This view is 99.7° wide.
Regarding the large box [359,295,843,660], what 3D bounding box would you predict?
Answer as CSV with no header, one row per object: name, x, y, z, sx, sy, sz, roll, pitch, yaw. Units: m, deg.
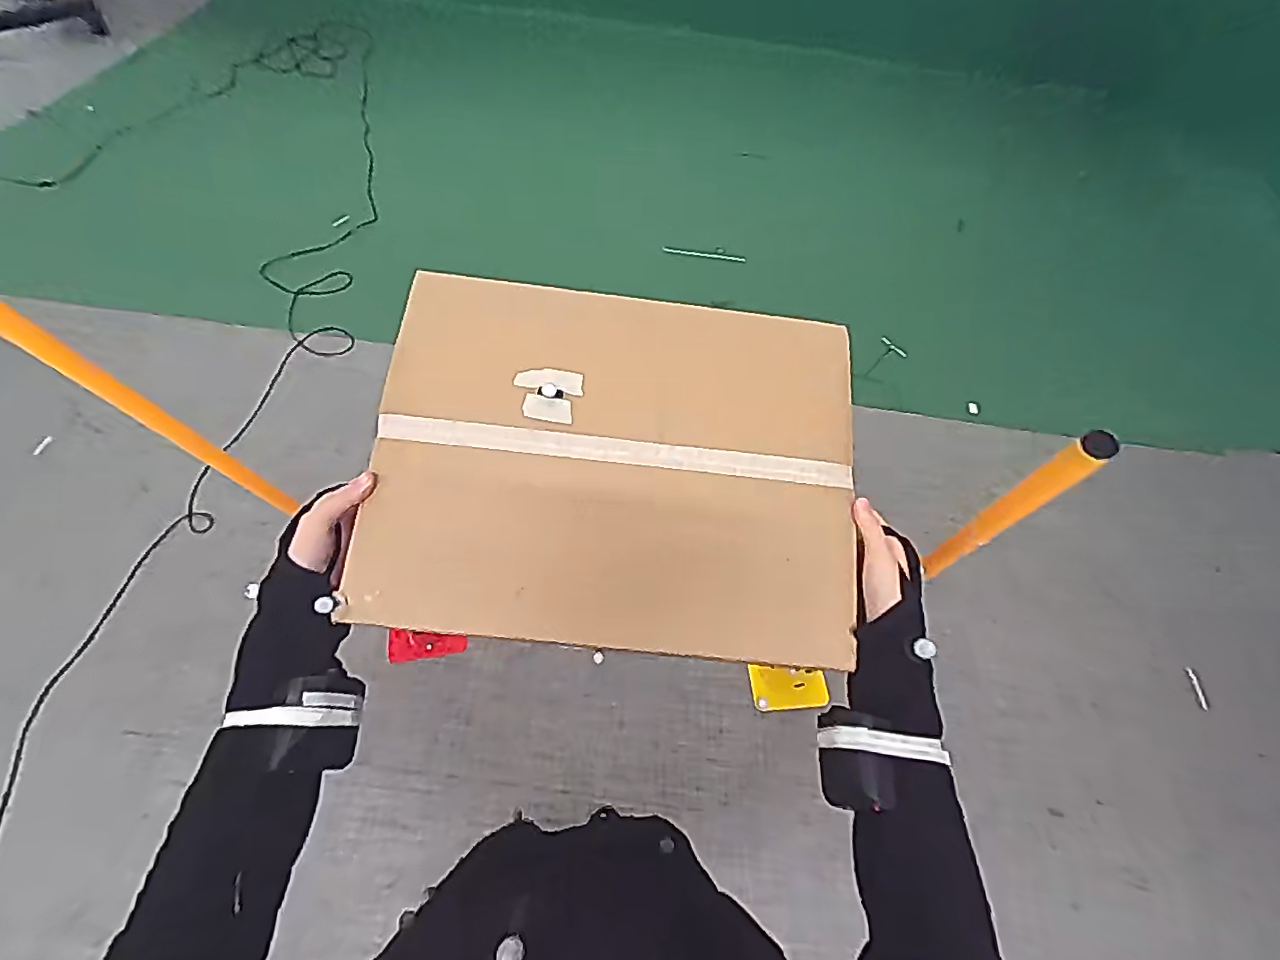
large box,-0.025,0.026,0.623,0.408,0.320,0.320,6,72,-2
